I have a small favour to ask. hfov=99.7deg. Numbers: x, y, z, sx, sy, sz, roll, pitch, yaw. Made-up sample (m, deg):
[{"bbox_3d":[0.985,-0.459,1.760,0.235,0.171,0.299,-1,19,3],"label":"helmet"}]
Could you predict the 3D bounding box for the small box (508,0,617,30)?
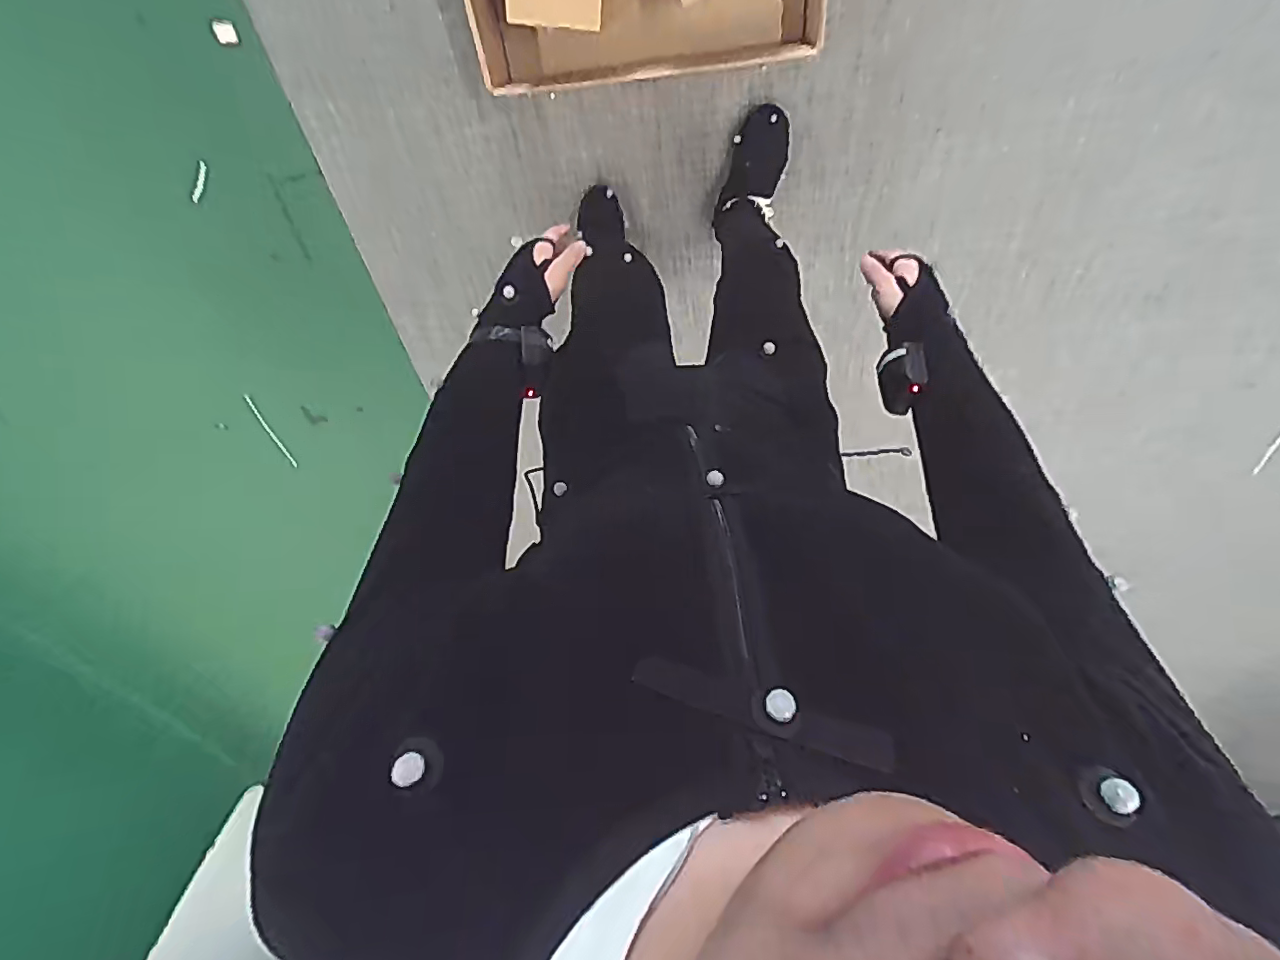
[{"bbox_3d":[-0.127,-0.893,0.924,0.168,0.176,0.179,7,131,1],"label":"small box"}]
